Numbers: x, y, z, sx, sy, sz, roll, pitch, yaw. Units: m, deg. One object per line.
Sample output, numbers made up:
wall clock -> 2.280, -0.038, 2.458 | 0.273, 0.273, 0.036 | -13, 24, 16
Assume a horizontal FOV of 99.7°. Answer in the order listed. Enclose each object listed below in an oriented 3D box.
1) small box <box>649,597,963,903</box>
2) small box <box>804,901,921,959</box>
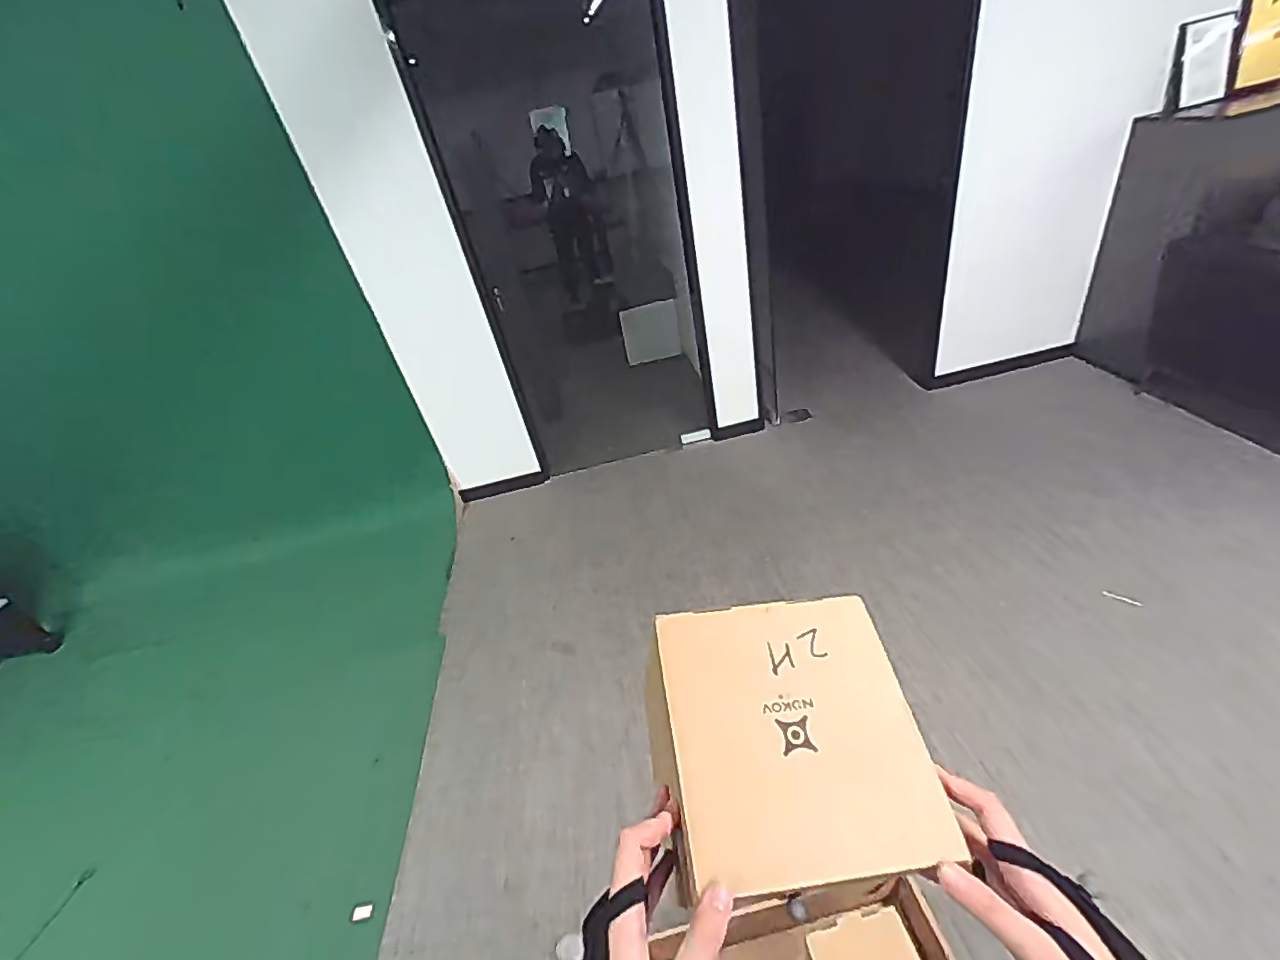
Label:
small box -> 0.100, 0.214, 0.424 | 0.168, 0.176, 0.179 | -3, 49, -6
small box -> 0.384, 0.851, 0.896 | 0.168, 0.176, 0.179 | -15, 34, -2
